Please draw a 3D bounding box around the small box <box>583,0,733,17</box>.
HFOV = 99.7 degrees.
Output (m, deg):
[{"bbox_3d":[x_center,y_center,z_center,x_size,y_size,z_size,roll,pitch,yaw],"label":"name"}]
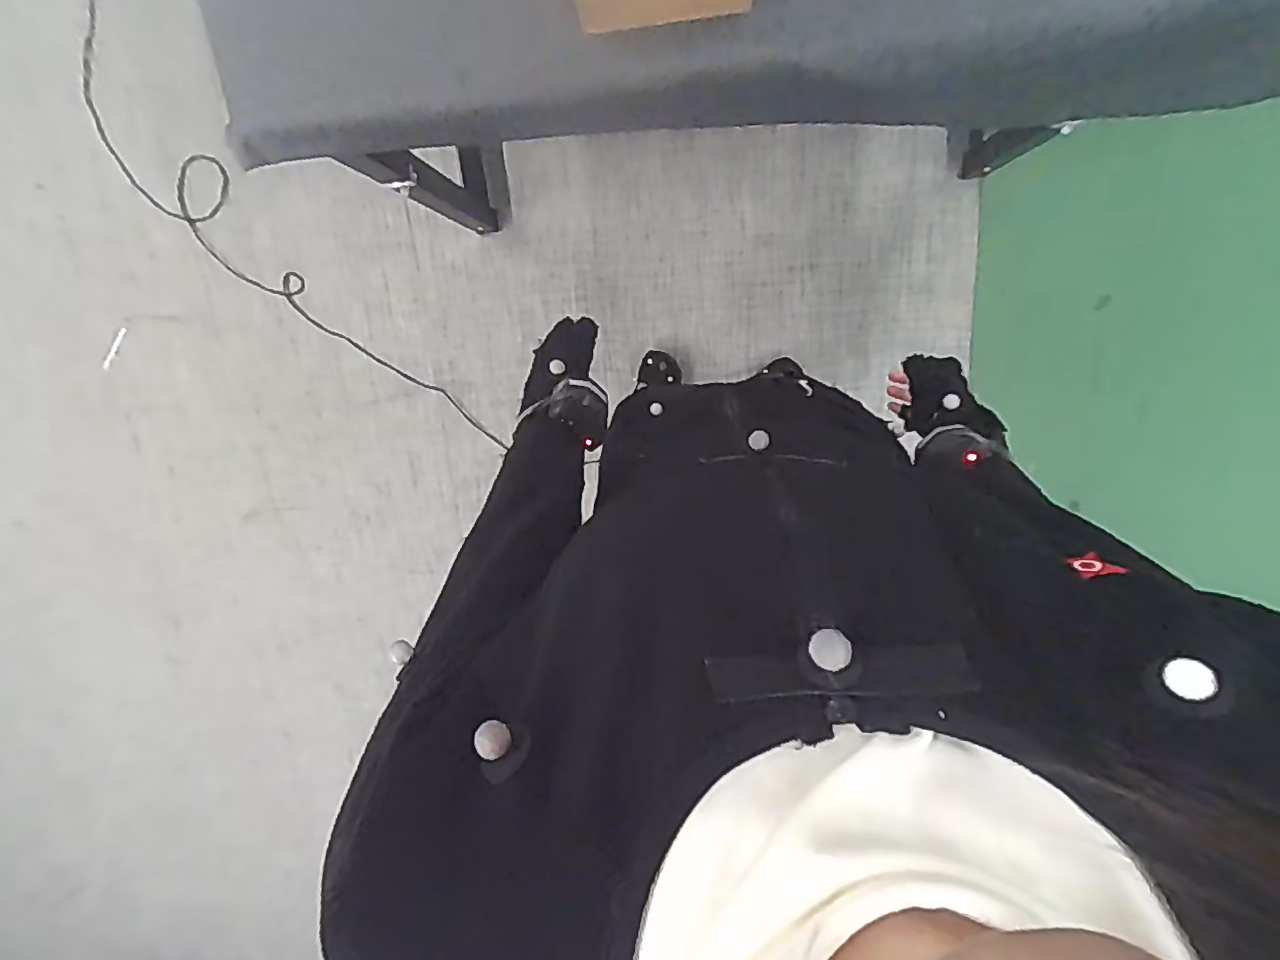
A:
[{"bbox_3d":[0.016,-0.547,0.469,0.179,0.176,0.168,-3,103,5],"label":"small box"}]
